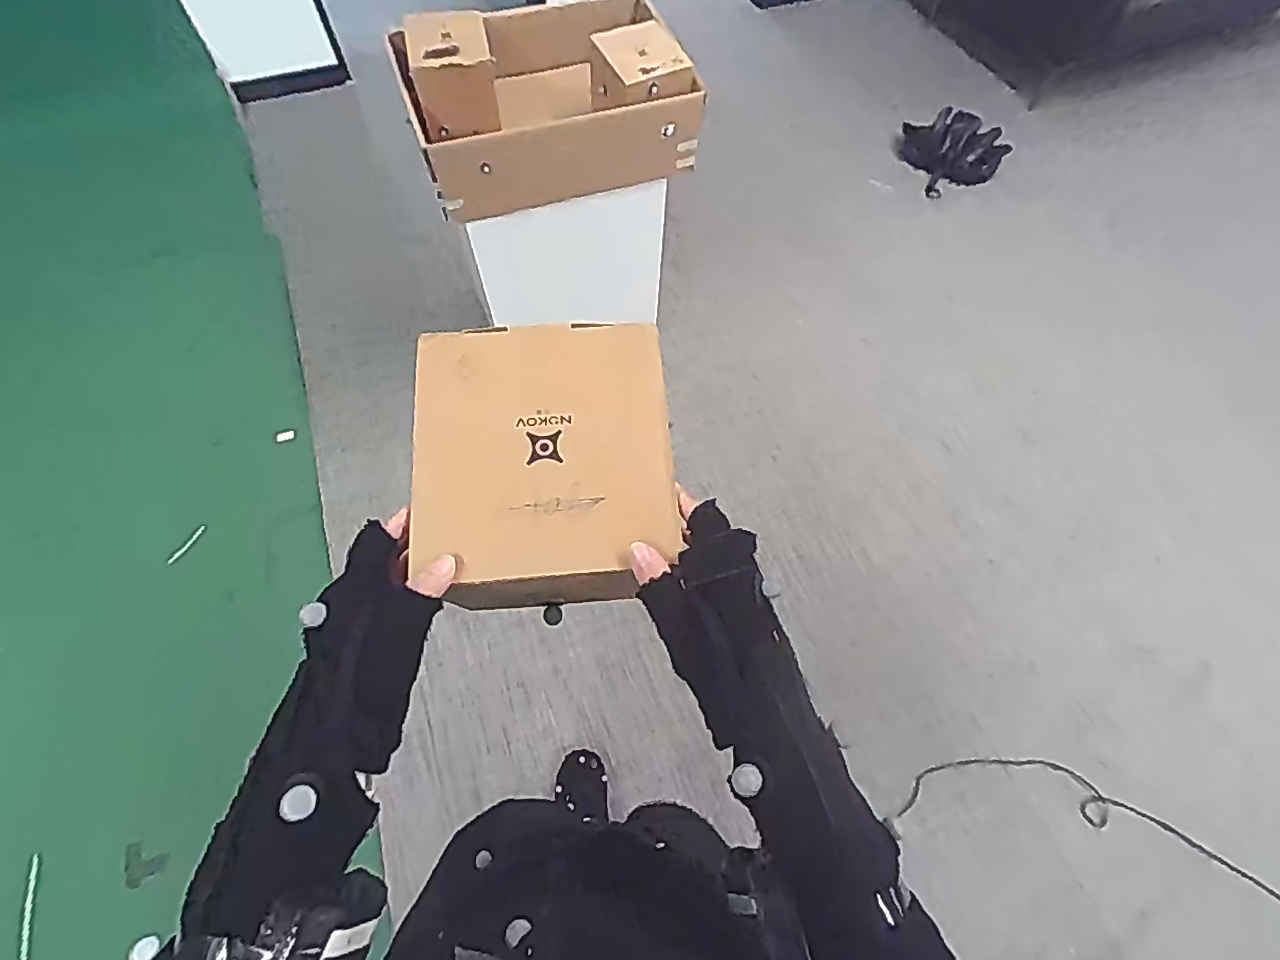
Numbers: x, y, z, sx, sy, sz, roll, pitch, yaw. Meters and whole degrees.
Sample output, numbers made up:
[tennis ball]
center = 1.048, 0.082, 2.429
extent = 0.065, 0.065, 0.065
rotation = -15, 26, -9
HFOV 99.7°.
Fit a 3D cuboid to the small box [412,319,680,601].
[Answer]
[small box]
center = -0.065, -0.005, 0.431
extent = 0.168, 0.176, 0.179
rotation = -3, 72, -4
